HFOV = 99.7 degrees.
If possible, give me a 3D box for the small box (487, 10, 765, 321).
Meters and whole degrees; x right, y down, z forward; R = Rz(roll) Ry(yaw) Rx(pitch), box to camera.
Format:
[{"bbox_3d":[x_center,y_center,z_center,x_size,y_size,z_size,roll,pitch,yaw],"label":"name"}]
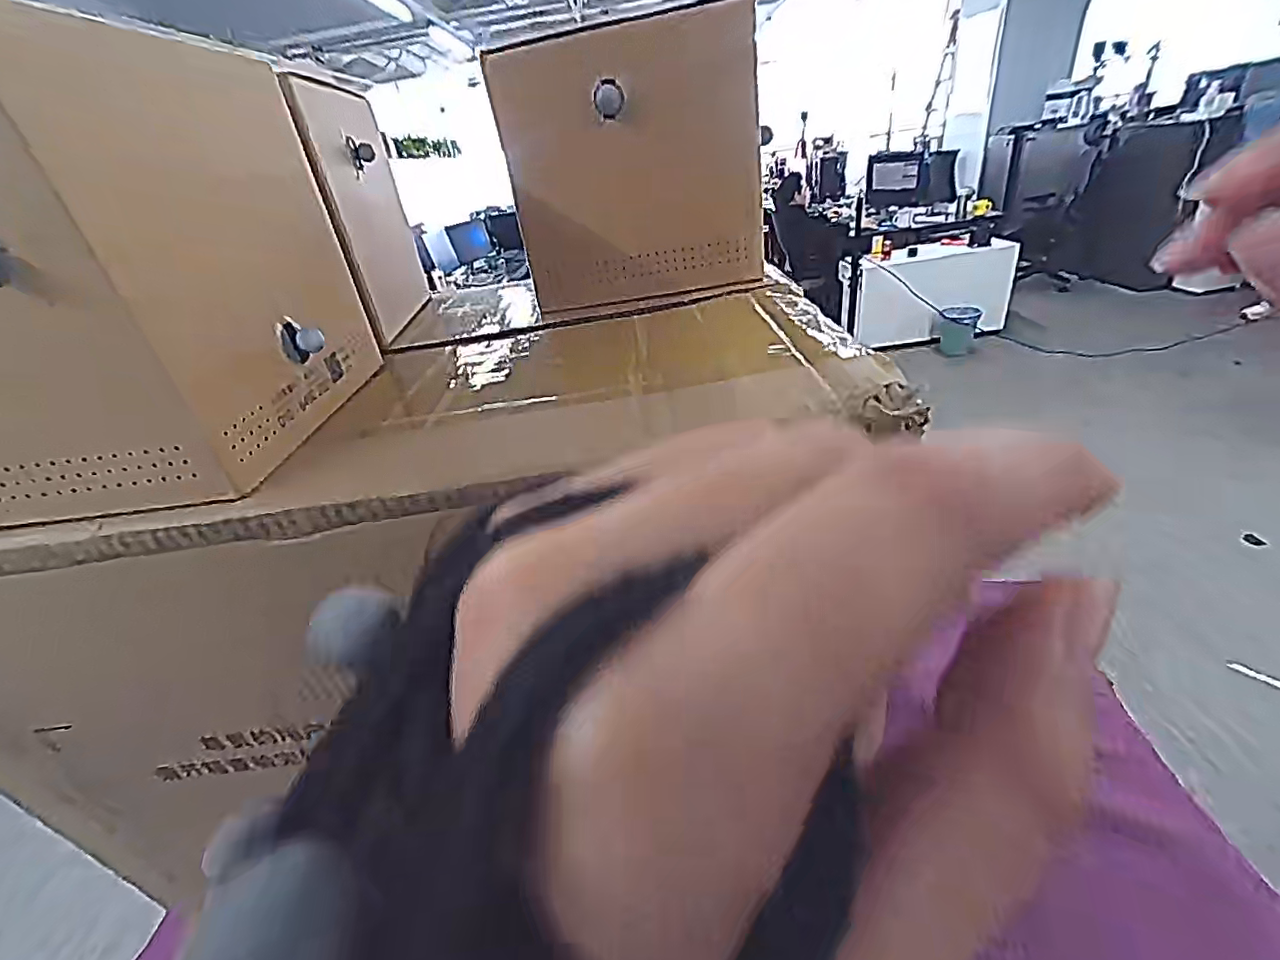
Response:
[{"bbox_3d":[0.006,-0.242,0.438,0.179,0.176,0.168,-6,31,8],"label":"small box"}]
